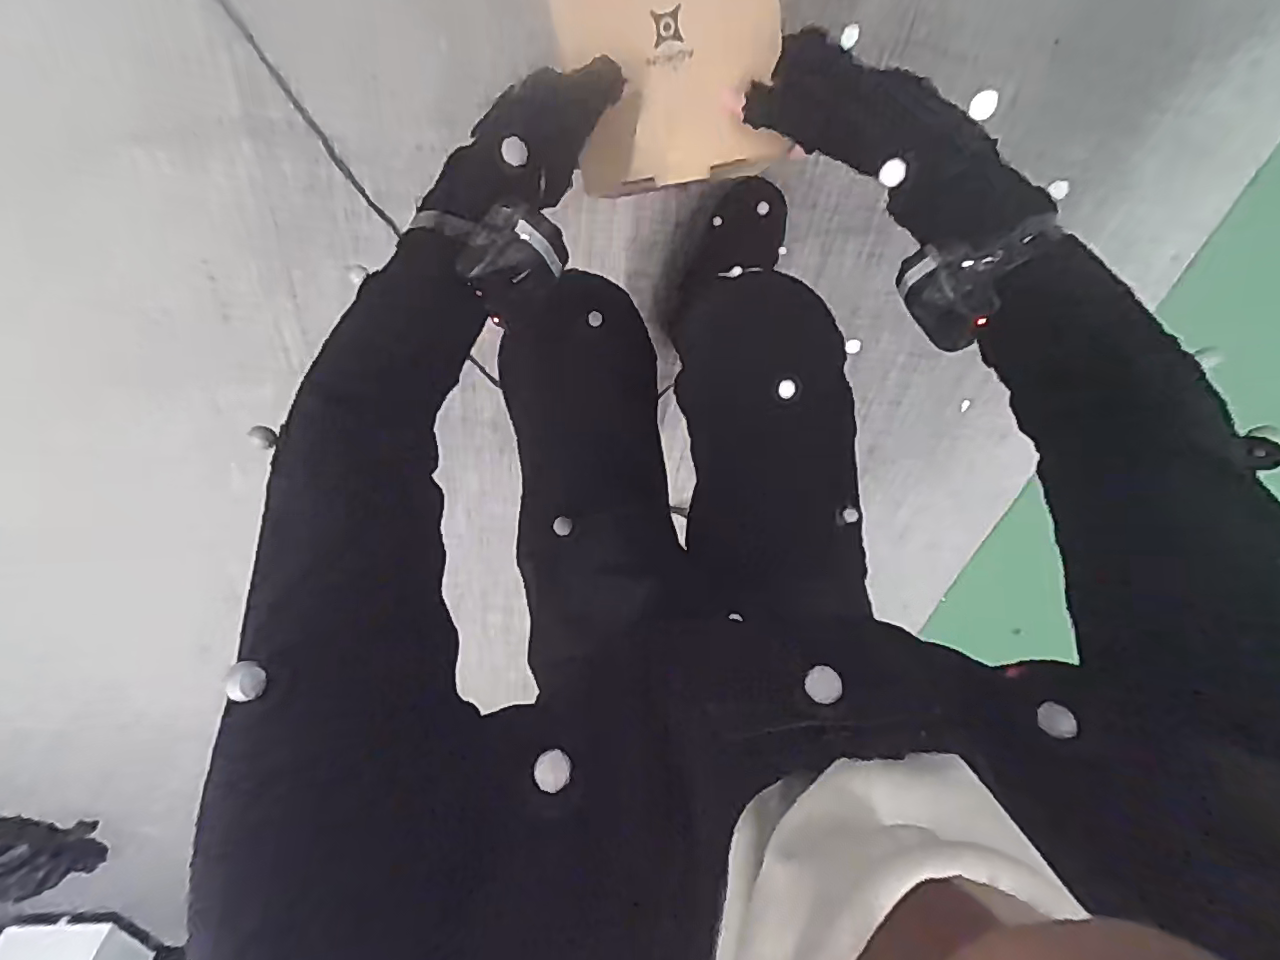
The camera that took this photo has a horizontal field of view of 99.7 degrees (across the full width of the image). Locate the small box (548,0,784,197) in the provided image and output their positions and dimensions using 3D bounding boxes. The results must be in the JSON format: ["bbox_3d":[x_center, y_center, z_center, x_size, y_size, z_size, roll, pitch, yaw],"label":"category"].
[{"bbox_3d":[0.027,-0.357,0.471,0.168,0.176,0.179,-8,115,9],"label":"small box"}]
